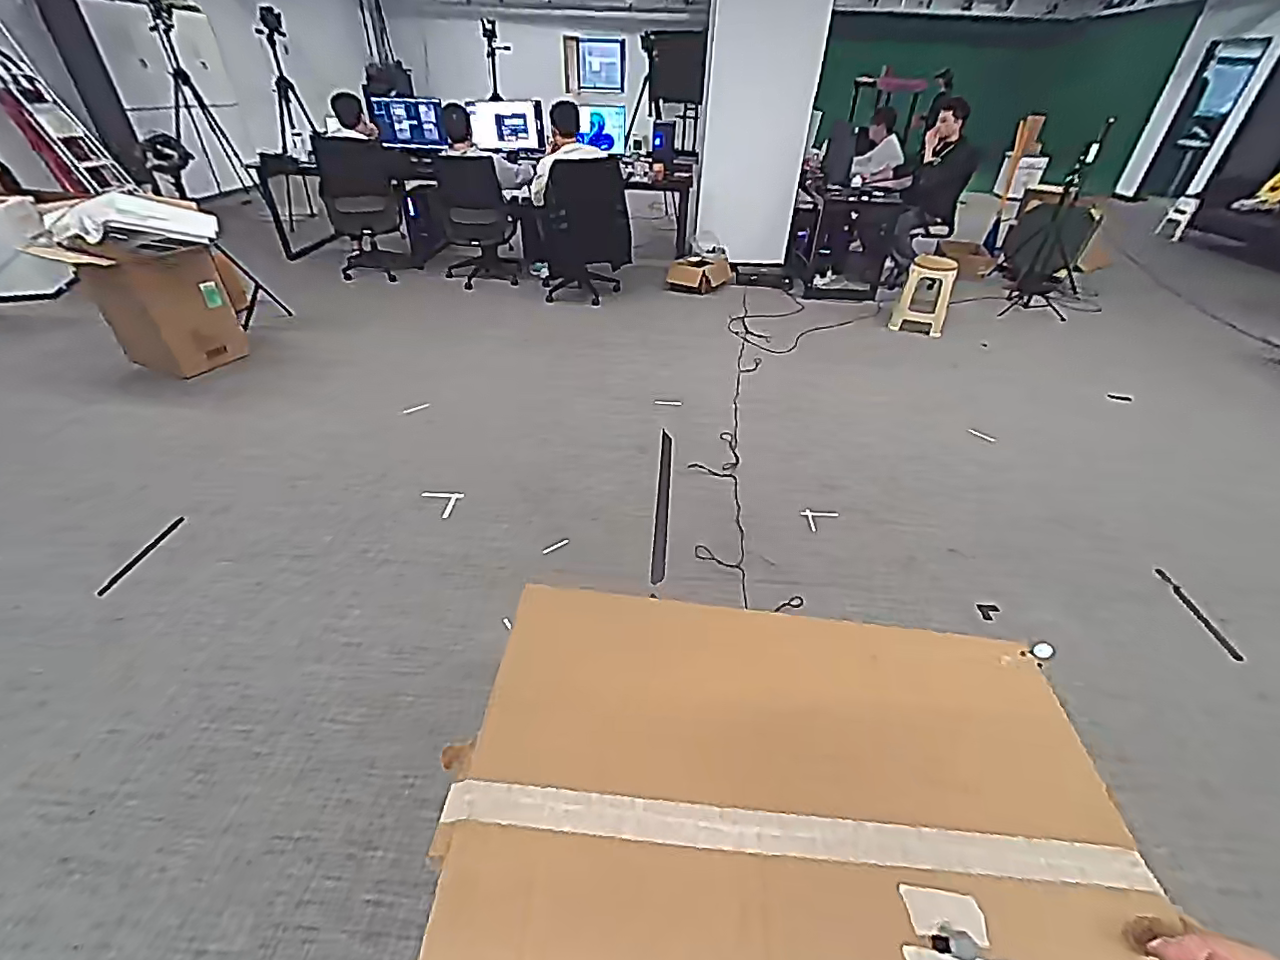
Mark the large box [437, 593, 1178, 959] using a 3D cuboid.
[{"bbox_3d":[0.081,0.323,0.420,0.408,0.320,0.320,8,42,-2],"label":"large box"}]
